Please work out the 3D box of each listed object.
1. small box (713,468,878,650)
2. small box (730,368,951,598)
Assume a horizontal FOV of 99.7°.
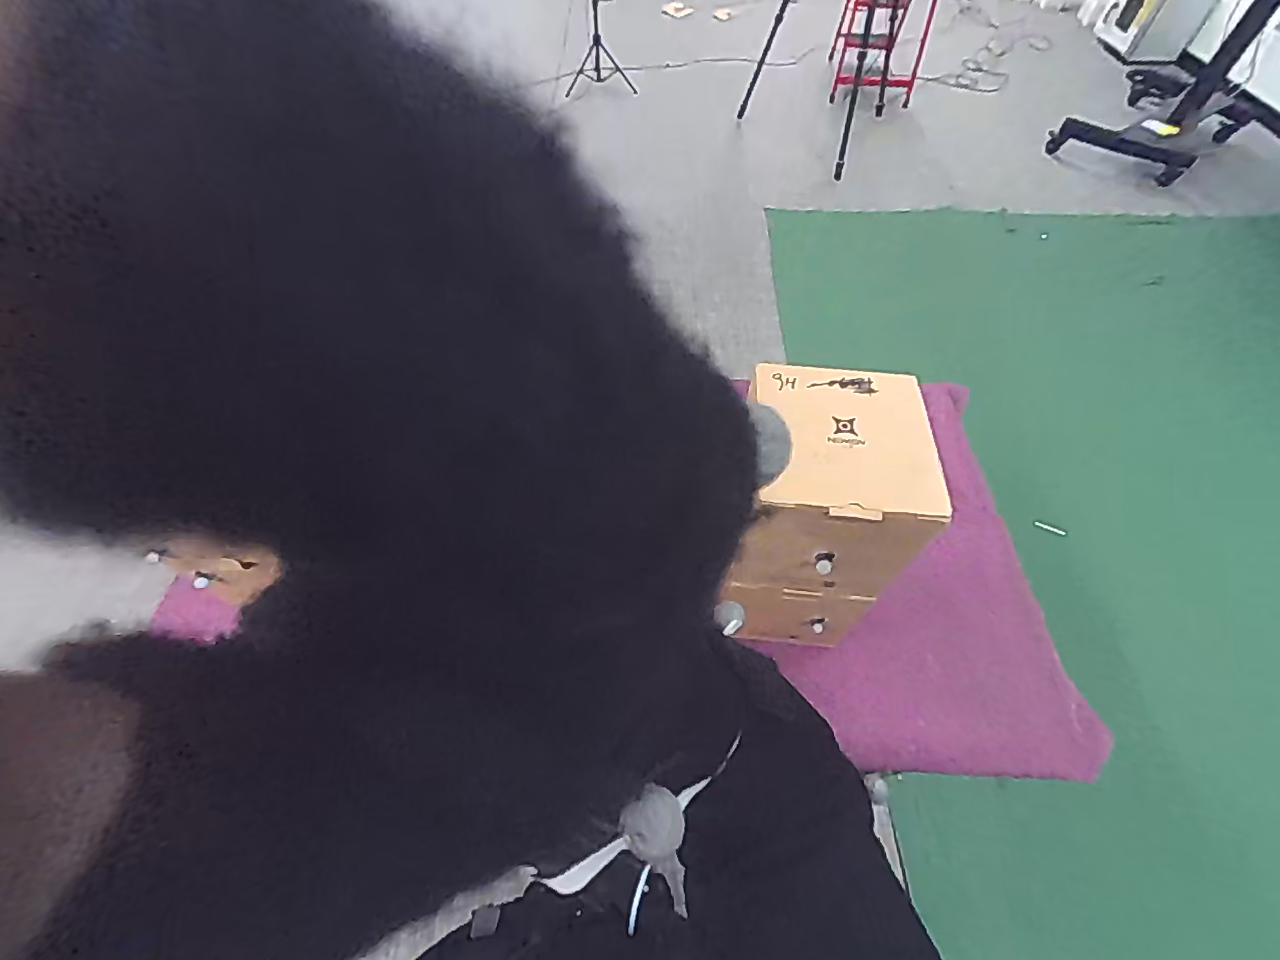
[{"bbox_3d":[0.188,0.107,0.702,0.168,0.176,0.179,6,55,3],"label":"small box"},{"bbox_3d":[0.191,0.010,0.569,0.168,0.176,0.179,6,56,3],"label":"small box"}]
